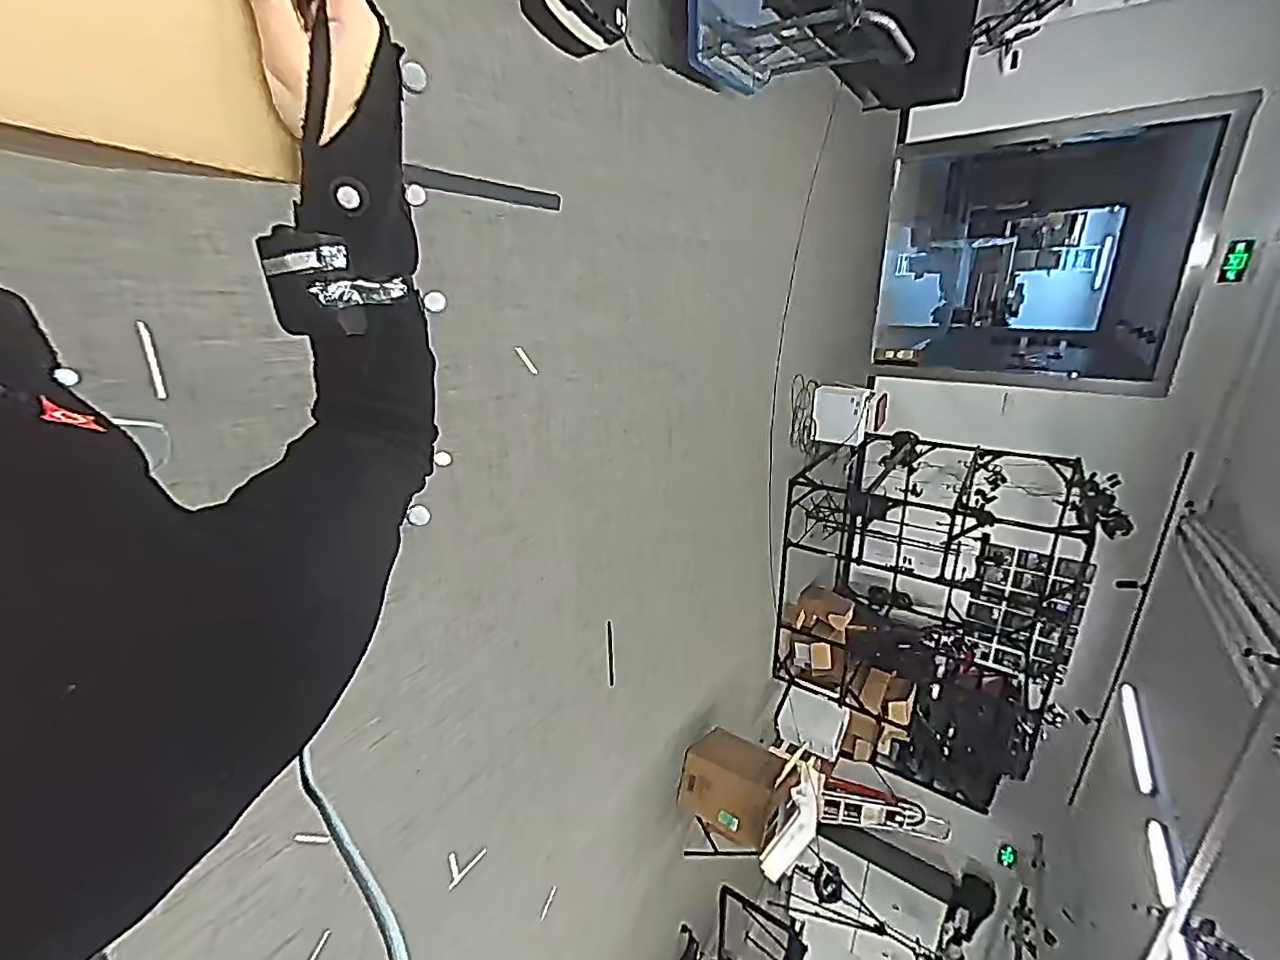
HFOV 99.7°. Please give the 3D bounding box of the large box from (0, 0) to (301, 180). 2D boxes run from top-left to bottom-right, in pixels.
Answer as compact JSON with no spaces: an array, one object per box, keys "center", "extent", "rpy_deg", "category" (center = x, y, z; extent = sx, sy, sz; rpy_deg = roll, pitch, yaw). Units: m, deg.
[{"center":[-0.421,-0.320,0.188],"extent":[0.408,0.320,0.320],"rpy_deg":[-24,129,-55],"category":"large box"}]
